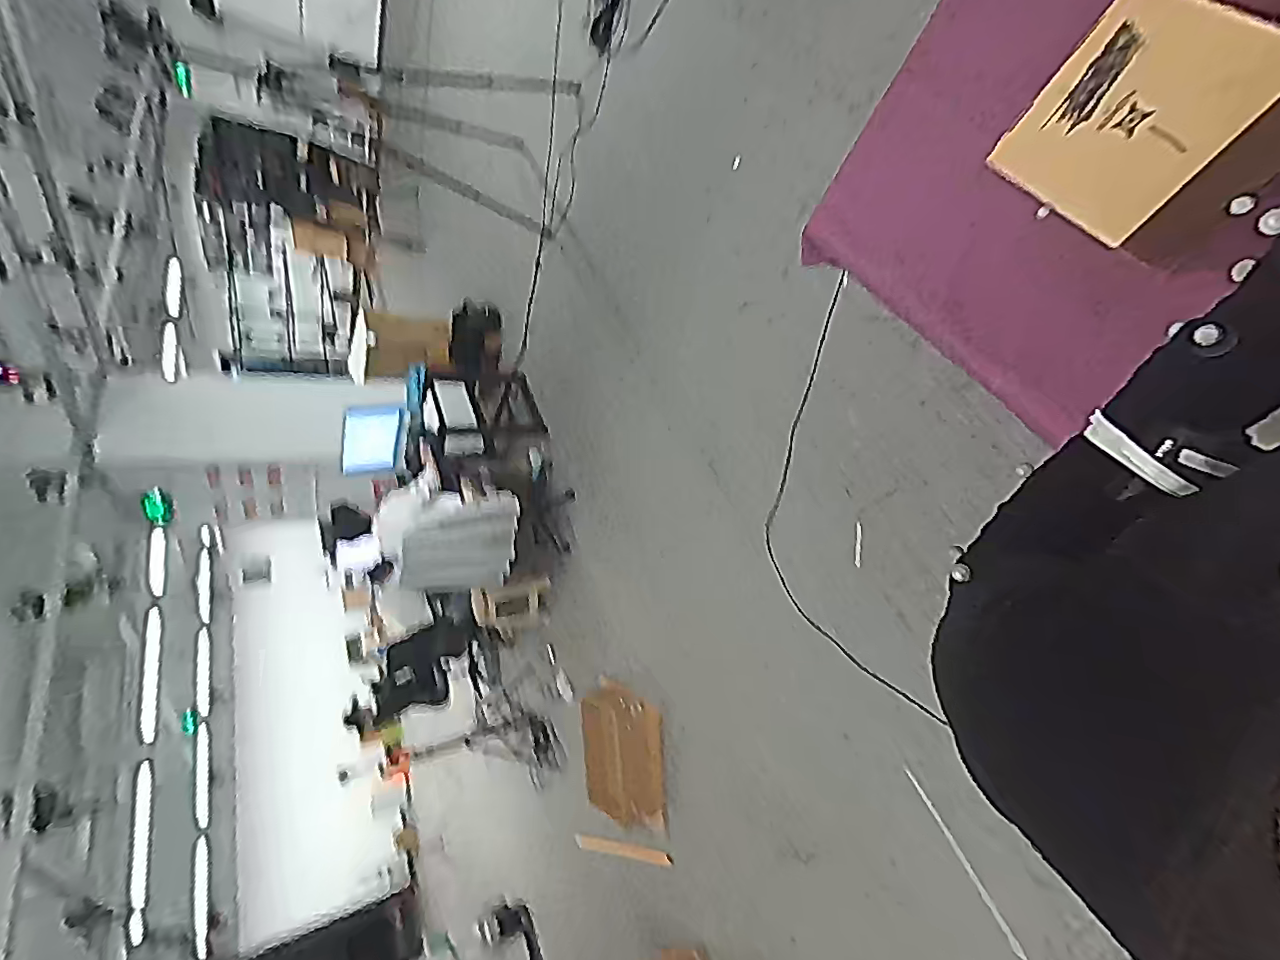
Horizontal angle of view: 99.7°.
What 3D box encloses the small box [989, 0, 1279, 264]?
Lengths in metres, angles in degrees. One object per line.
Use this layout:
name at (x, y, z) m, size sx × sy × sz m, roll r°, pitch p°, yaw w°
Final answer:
small box at (0.514, -0.341, 0.544) m, size 0.179 × 0.176 × 0.168 m, roll 62°, pitch 140°, yaw 29°
